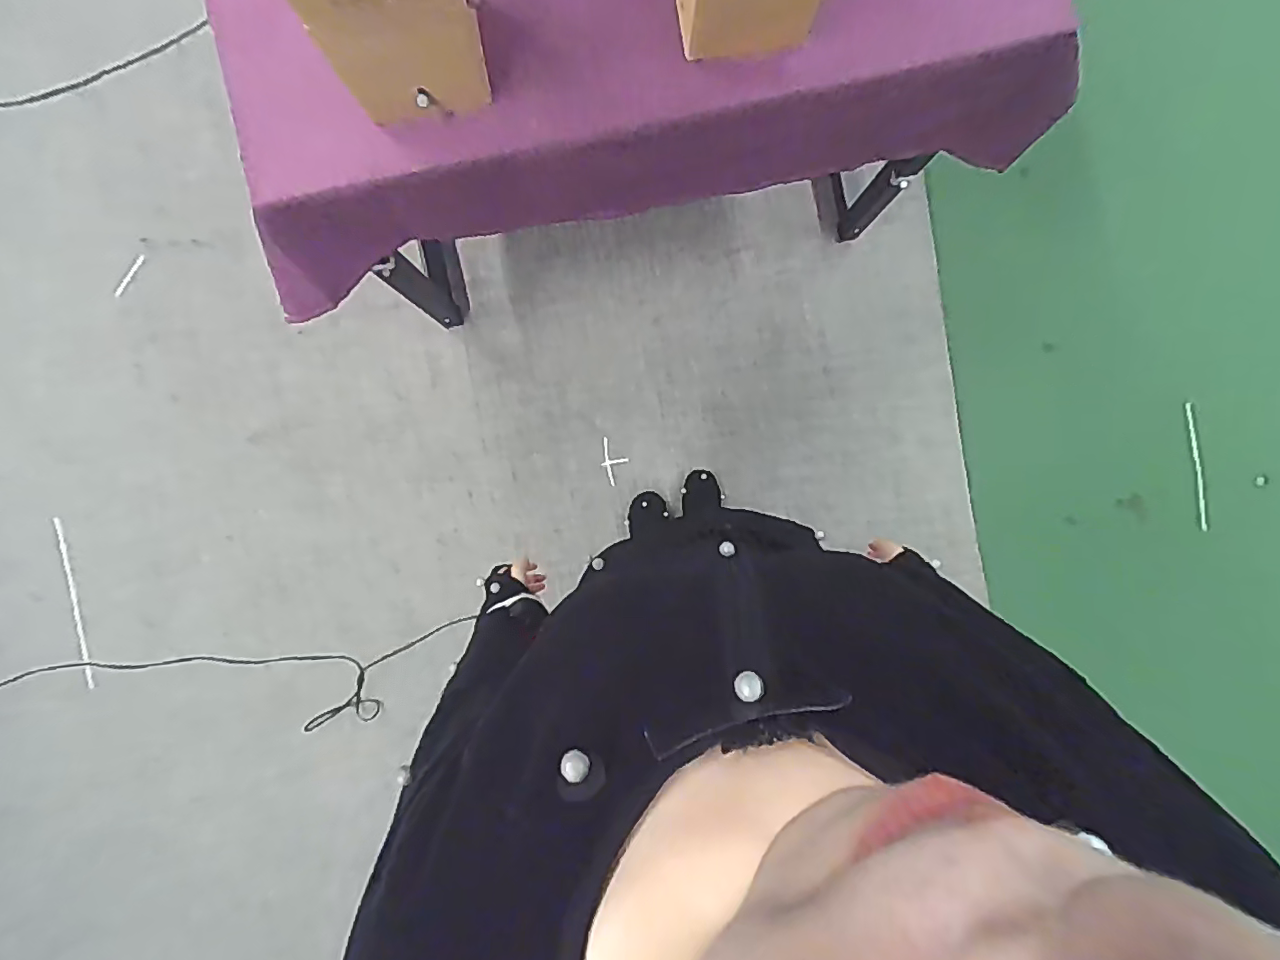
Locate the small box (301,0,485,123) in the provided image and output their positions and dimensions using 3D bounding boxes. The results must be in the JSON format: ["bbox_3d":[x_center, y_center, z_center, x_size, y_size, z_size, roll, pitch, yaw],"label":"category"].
[{"bbox_3d":[-0.308,-0.598,0.691,0.179,0.176,0.168,-10,90,-1],"label":"small box"}]

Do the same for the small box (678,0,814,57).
[{"bbox_3d":[0.136,-0.689,0.694,0.179,0.176,0.168,-9,90,-1],"label":"small box"}]
